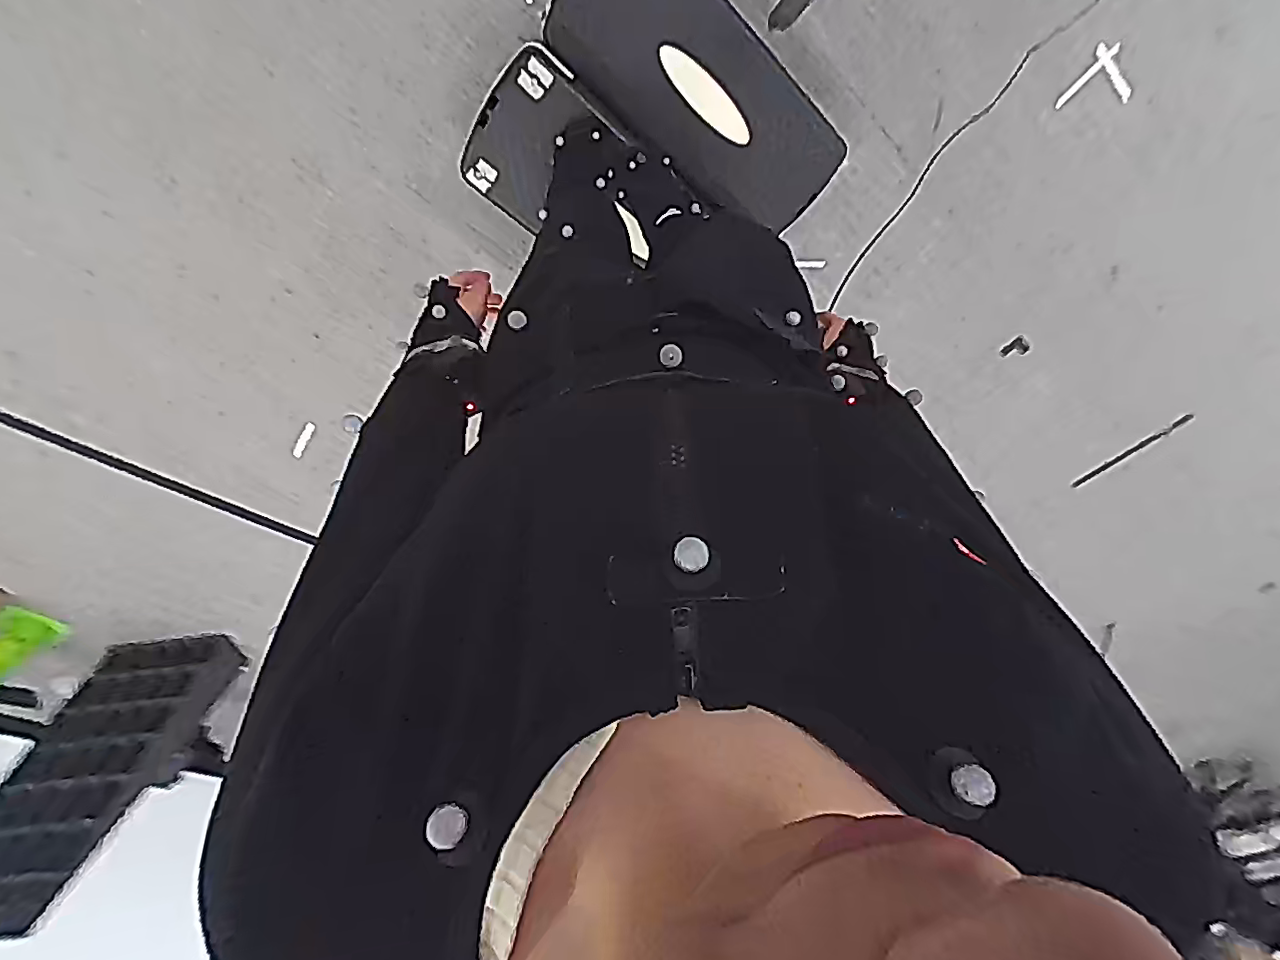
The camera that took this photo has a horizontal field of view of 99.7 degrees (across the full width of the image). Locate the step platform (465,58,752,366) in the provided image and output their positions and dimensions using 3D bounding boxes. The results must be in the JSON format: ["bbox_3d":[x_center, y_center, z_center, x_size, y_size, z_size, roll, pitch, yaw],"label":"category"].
[{"bbox_3d":[-0.050,-0.577,1.251,0.684,0.204,0.286,36,117,-26],"label":"step platform"}]
